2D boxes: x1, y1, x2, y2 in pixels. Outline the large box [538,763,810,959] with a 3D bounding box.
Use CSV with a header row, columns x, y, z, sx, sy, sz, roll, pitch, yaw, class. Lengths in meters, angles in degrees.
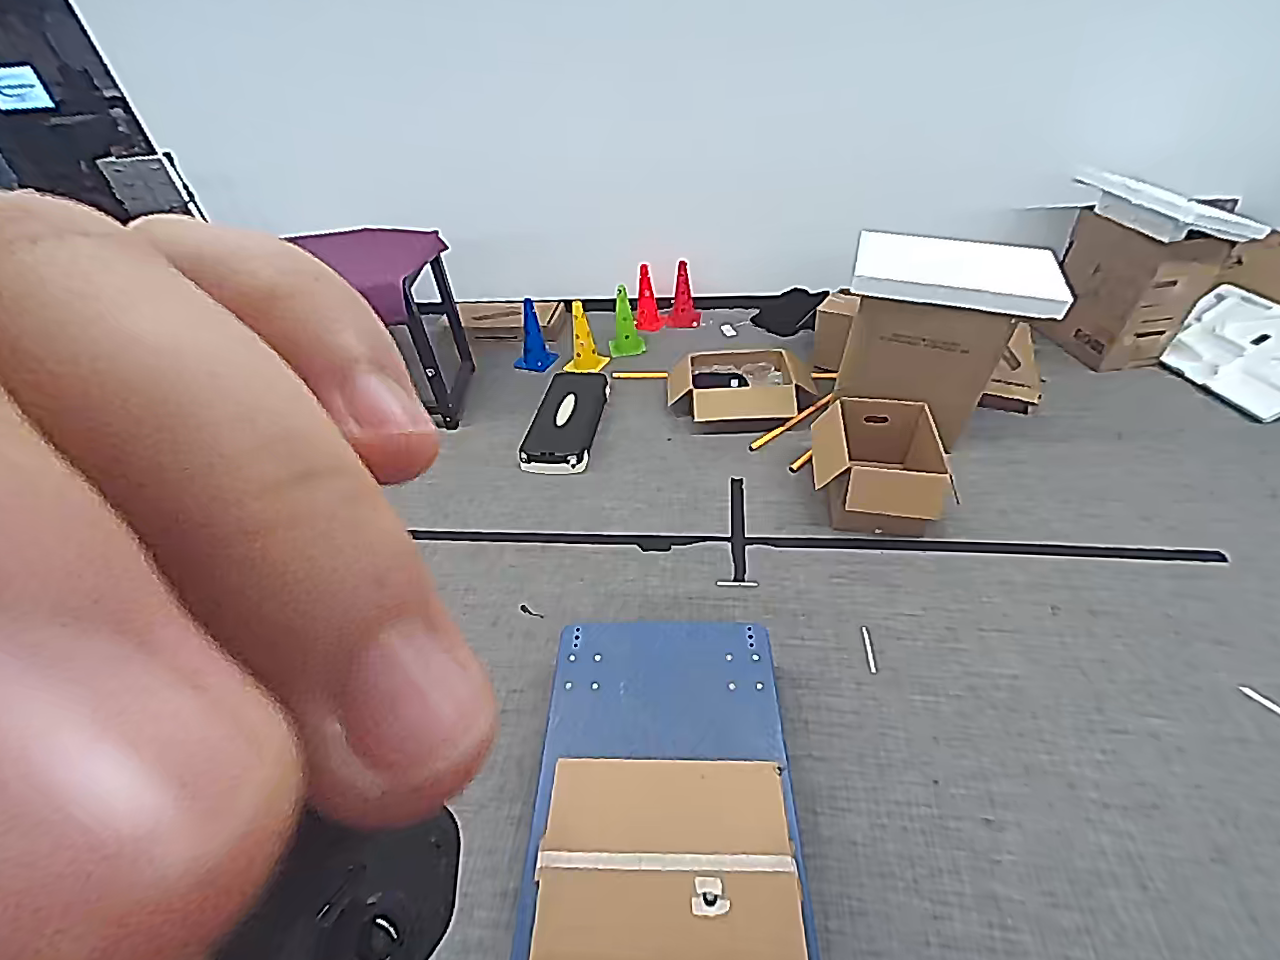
x,y,z,sx,sy,sz,roll,pitch,yaw,class
0.054,0.731,0.972,0.408,0.320,0.320,-1,43,3,large box
